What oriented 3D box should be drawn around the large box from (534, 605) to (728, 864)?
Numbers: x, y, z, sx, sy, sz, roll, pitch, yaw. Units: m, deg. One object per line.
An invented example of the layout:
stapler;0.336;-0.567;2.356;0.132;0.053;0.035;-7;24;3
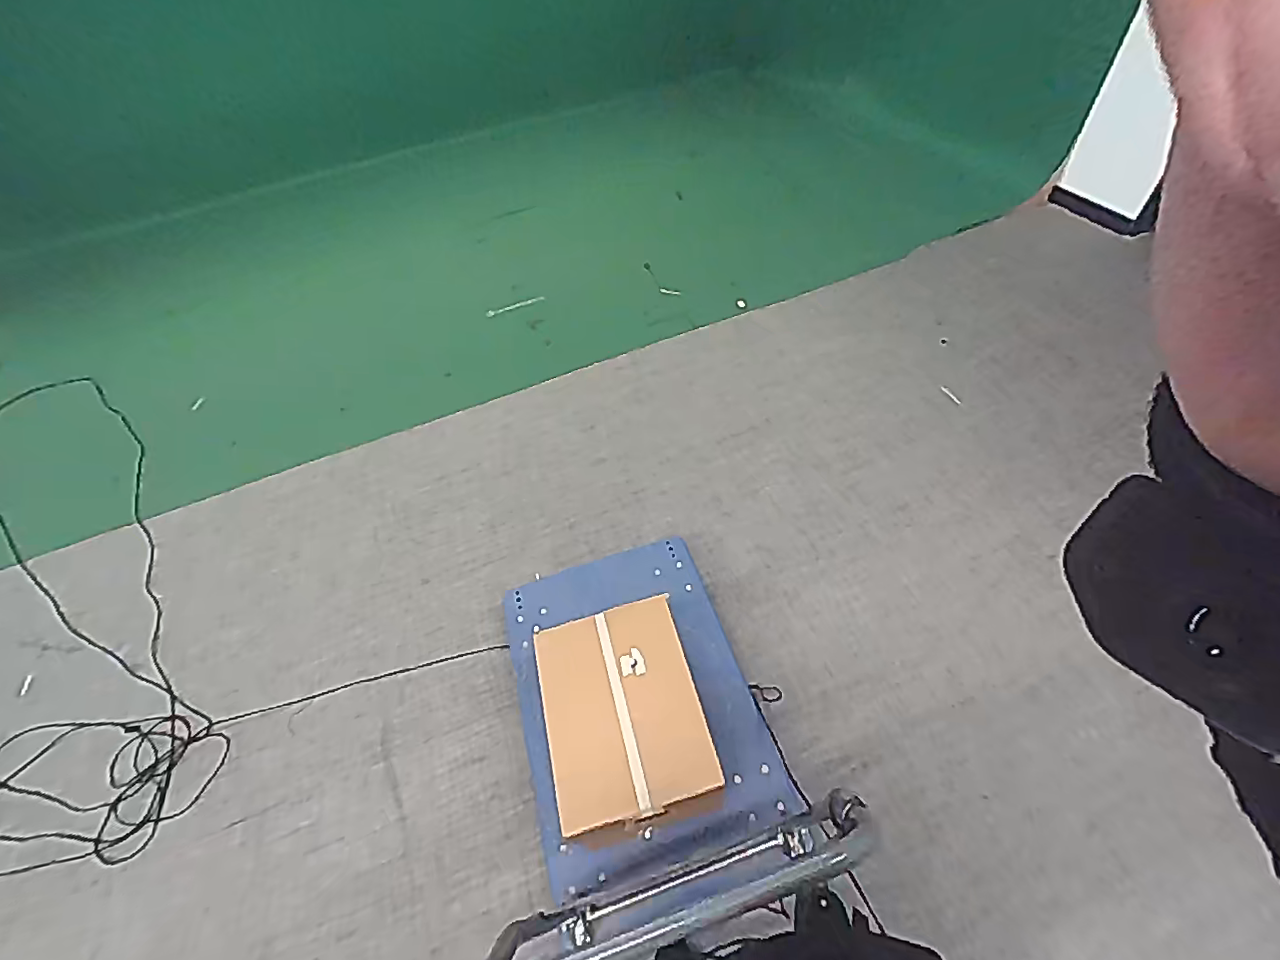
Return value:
large box;-0.019;0.561;1.201;0.320;0.320;0.408;-15;51;-5
